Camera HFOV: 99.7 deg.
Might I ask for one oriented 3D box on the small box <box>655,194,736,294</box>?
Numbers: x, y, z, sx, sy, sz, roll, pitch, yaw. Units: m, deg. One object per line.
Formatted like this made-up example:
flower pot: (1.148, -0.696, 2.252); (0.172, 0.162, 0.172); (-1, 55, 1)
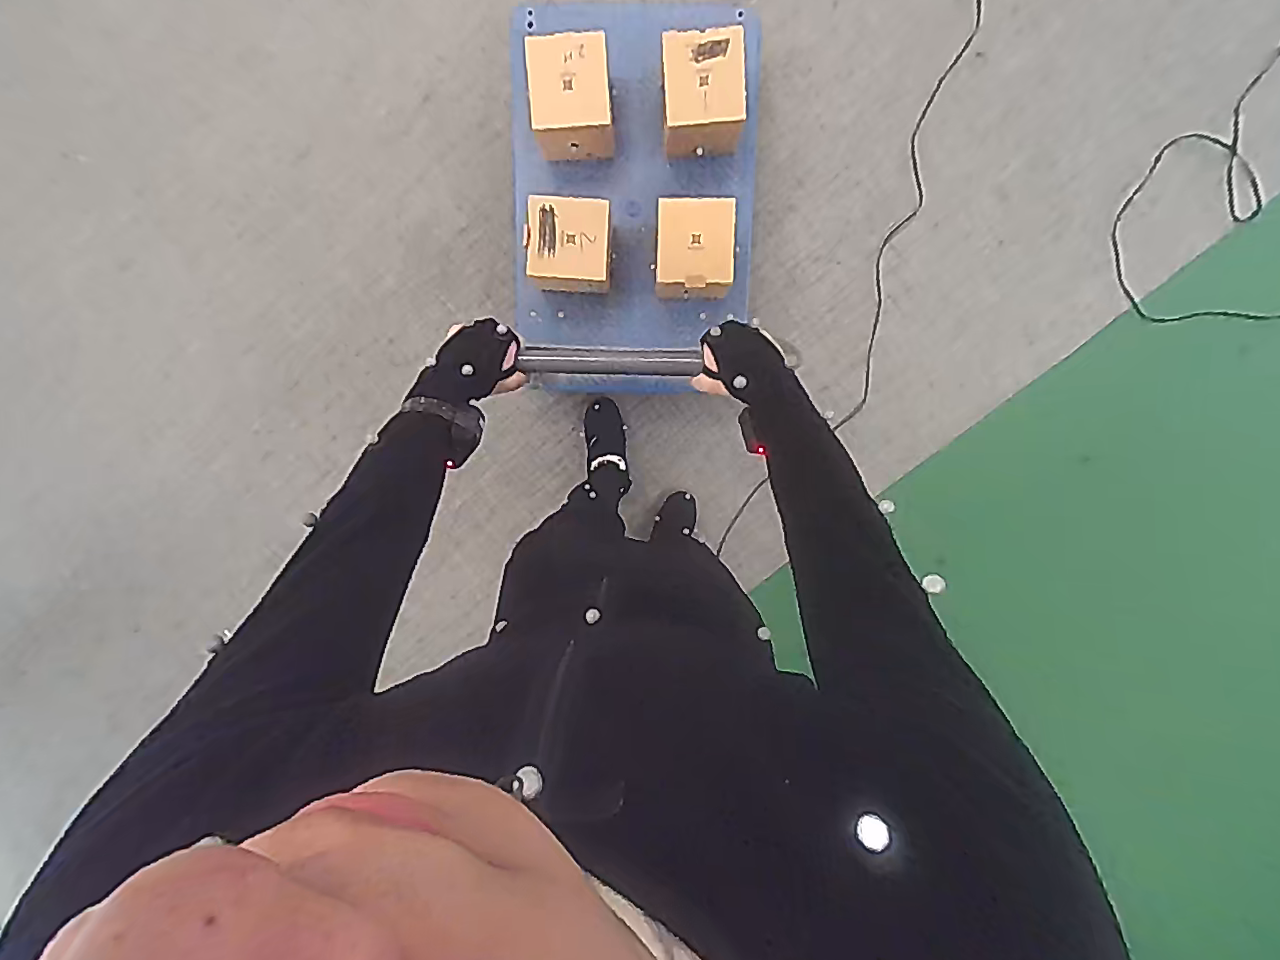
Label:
small box: (0.119, -0.528, 1.230); (0.168, 0.176, 0.179); (0, 101, 0)

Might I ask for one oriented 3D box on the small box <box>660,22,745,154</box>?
small box: (0.131, -0.839, 1.172); (0.168, 0.176, 0.179); (-4, 101, 2)

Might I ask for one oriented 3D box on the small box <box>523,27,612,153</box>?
small box: (-0.149, -0.832, 1.174); (0.168, 0.176, 0.179); (-3, 100, 0)
